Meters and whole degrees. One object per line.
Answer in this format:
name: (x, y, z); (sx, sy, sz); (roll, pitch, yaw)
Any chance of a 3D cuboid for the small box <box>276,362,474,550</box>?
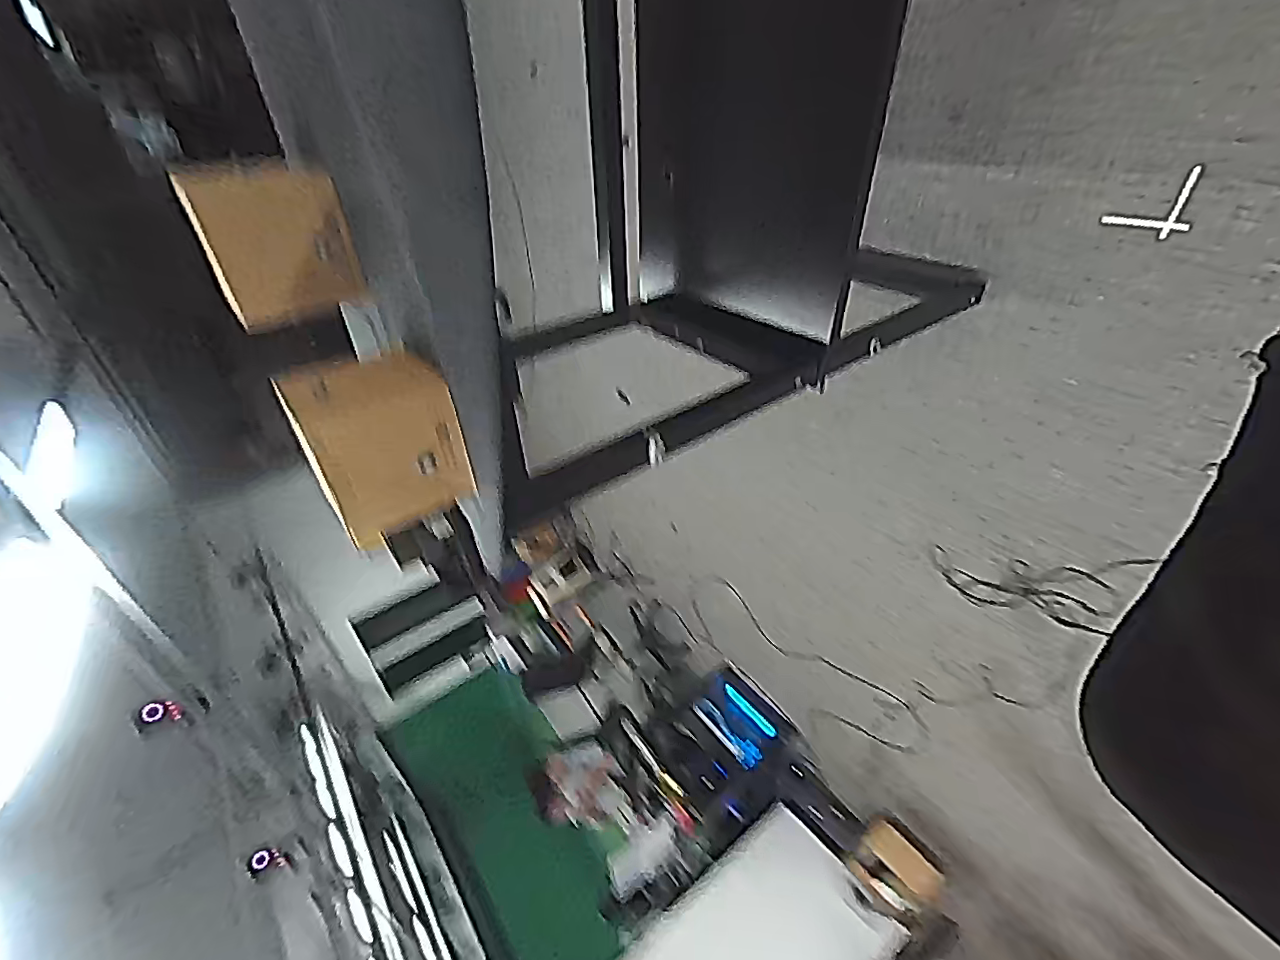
small box: (-0.343, -0.044, 0.715); (0.179, 0.176, 0.168); (32, 138, 42)
